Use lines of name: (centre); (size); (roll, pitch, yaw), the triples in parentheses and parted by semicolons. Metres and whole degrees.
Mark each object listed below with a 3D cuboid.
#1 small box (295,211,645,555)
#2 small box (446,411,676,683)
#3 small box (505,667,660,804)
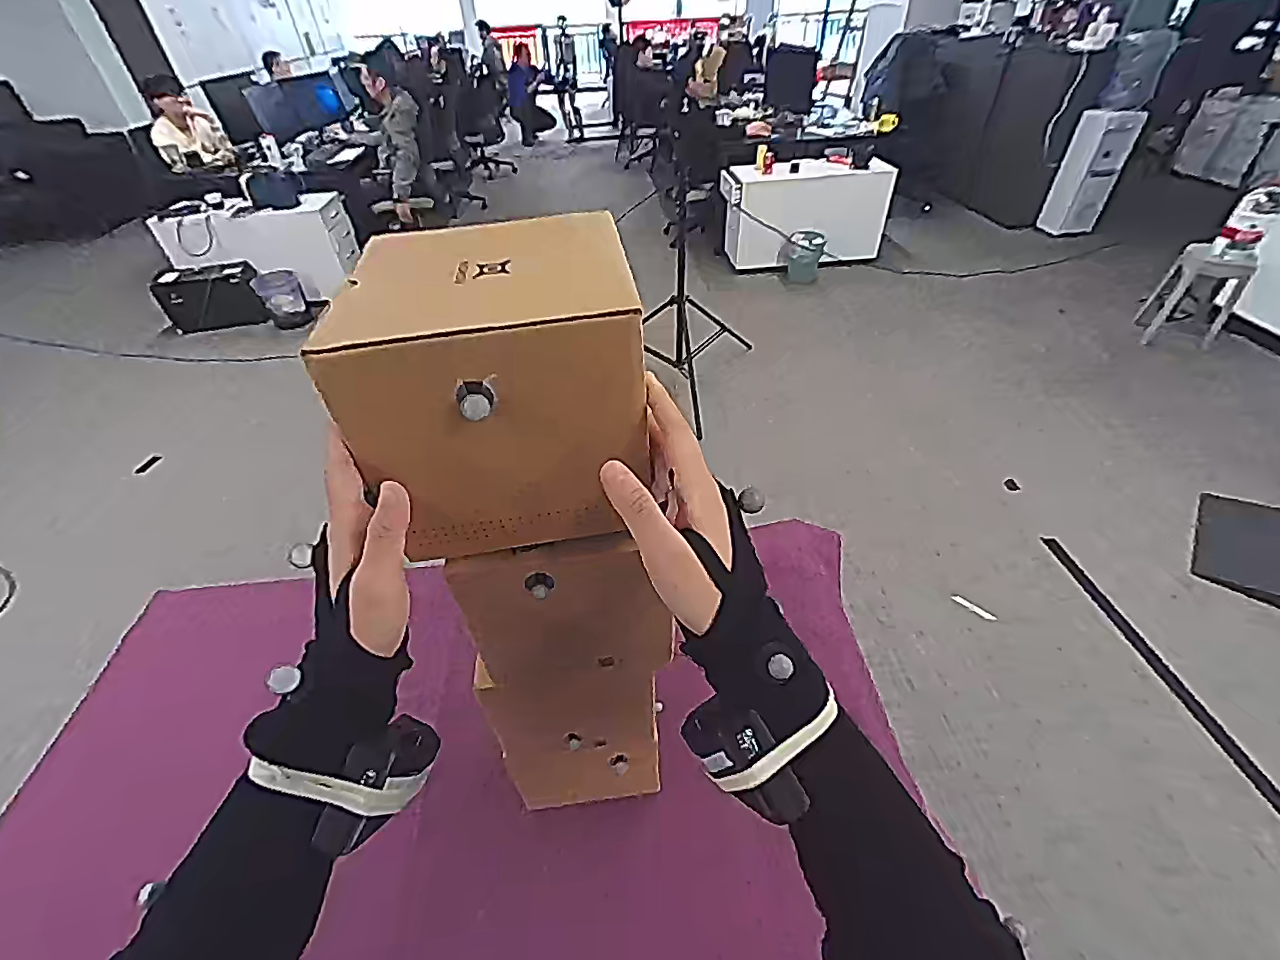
small box: (-0.092, -0.069, 0.385); (0.179, 0.176, 0.168); (-9, 43, -3)
small box: (-0.062, 0.058, 0.498); (0.168, 0.176, 0.179); (-6, 42, -4)
small box: (-0.069, 0.304, 0.716); (0.179, 0.176, 0.168); (-7, 41, -3)
